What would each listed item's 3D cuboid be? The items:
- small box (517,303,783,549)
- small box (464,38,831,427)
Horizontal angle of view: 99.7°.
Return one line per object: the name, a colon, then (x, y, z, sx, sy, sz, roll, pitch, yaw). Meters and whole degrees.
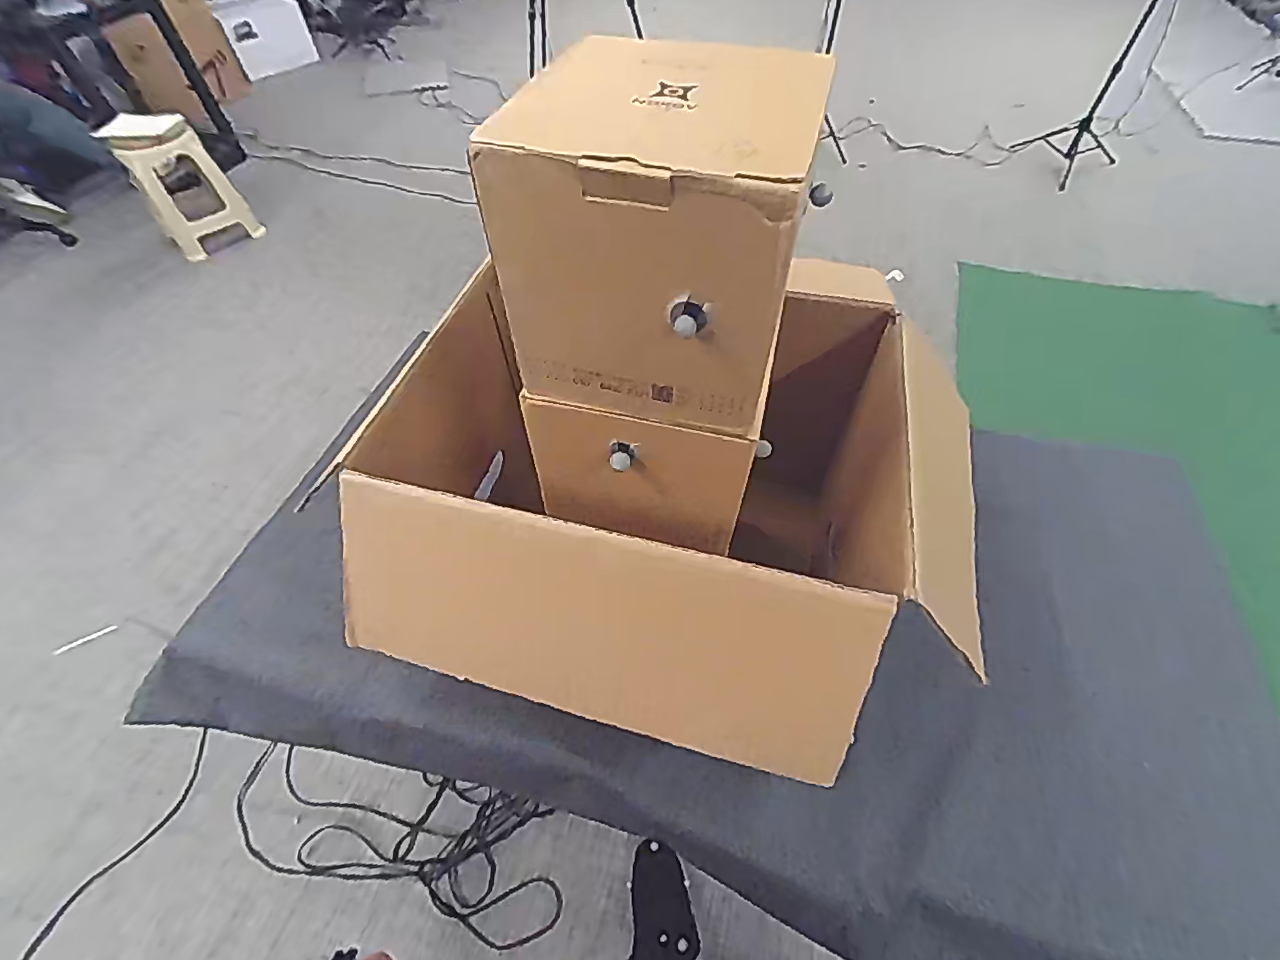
small box: (0.016, -0.057, 0.484, 0.179, 0.176, 0.168, 12, 54, 9)
small box: (0.016, -0.160, 0.359, 0.168, 0.176, 0.179, 13, 53, 10)
